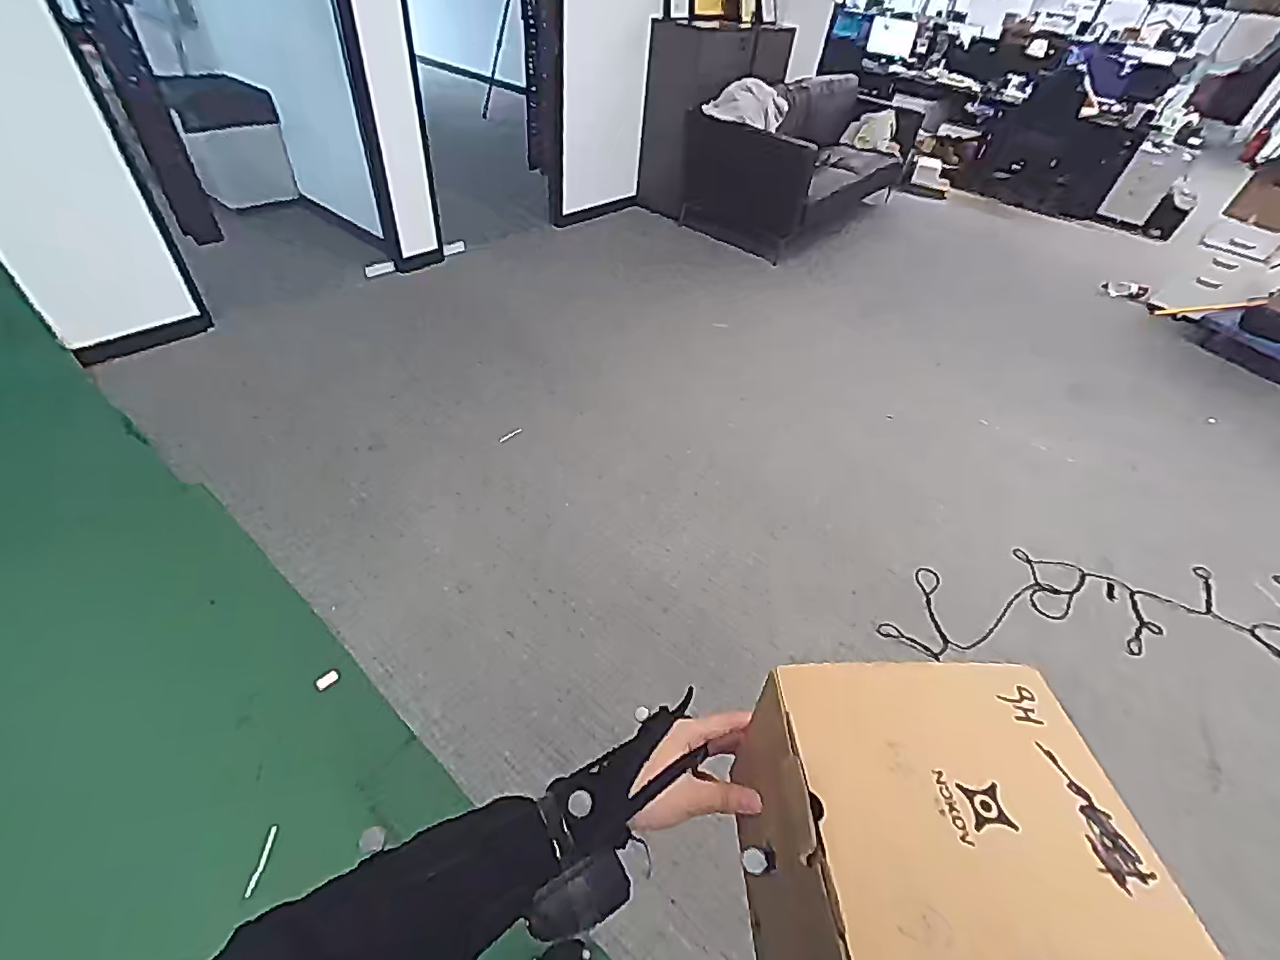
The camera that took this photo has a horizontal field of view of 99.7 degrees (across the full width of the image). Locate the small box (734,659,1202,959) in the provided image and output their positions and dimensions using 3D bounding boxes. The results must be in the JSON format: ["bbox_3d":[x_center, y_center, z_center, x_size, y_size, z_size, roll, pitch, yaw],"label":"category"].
[{"bbox_3d":[0.162,0.233,0.345,0.179,0.176,0.168,1,40,-3],"label":"small box"}]
